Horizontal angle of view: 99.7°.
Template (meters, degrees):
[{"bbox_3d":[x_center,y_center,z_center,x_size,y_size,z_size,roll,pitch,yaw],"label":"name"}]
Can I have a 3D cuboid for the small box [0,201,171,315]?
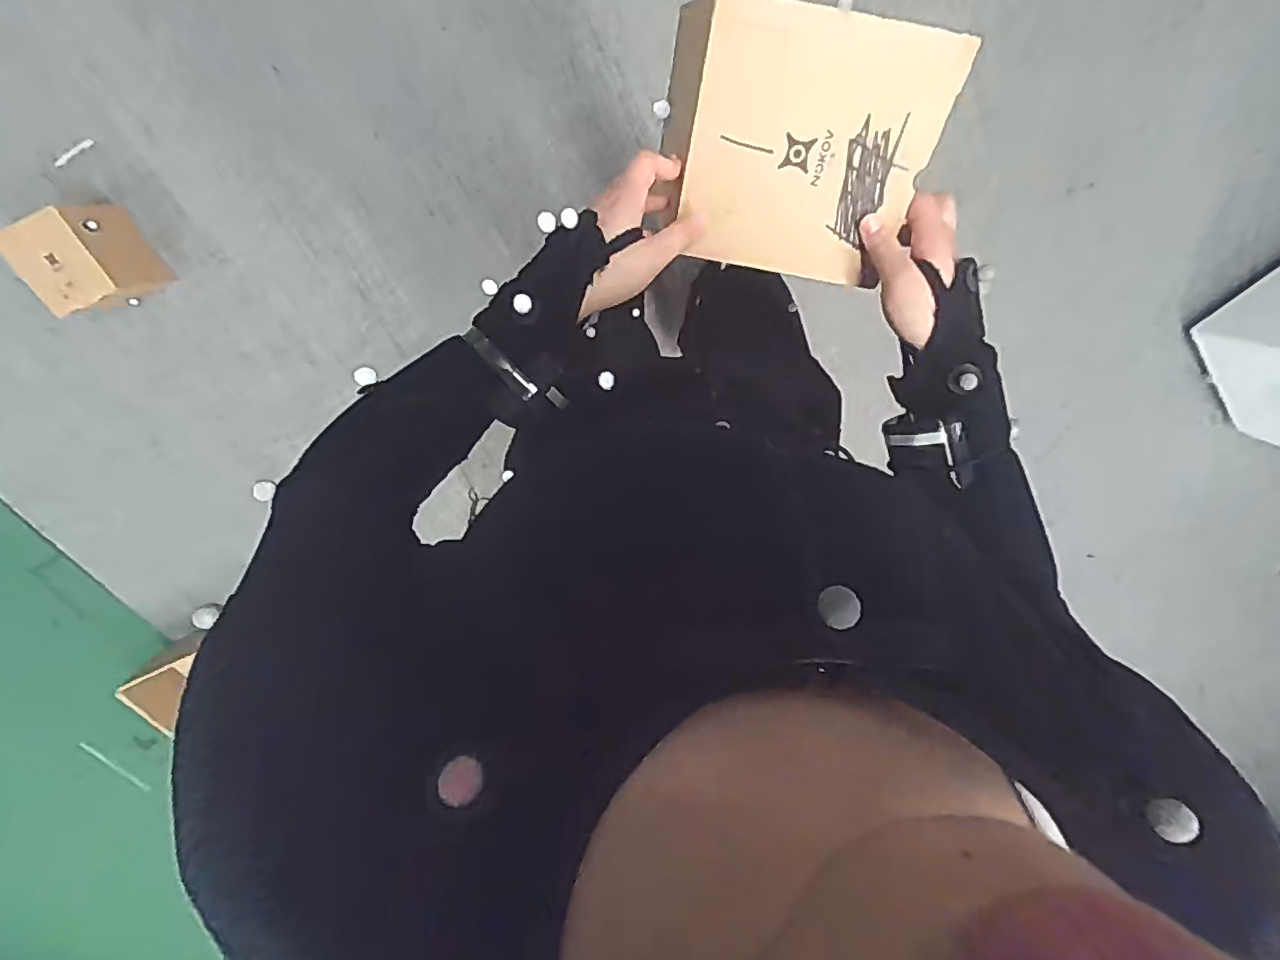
[{"bbox_3d":[-1.197,-0.482,1.173,0.168,0.176,0.179,-19,116,7],"label":"small box"}]

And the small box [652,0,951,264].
[{"bbox_3d":[0.115,-0.306,0.473,0.179,0.176,0.168,4,126,-8],"label":"small box"}]
